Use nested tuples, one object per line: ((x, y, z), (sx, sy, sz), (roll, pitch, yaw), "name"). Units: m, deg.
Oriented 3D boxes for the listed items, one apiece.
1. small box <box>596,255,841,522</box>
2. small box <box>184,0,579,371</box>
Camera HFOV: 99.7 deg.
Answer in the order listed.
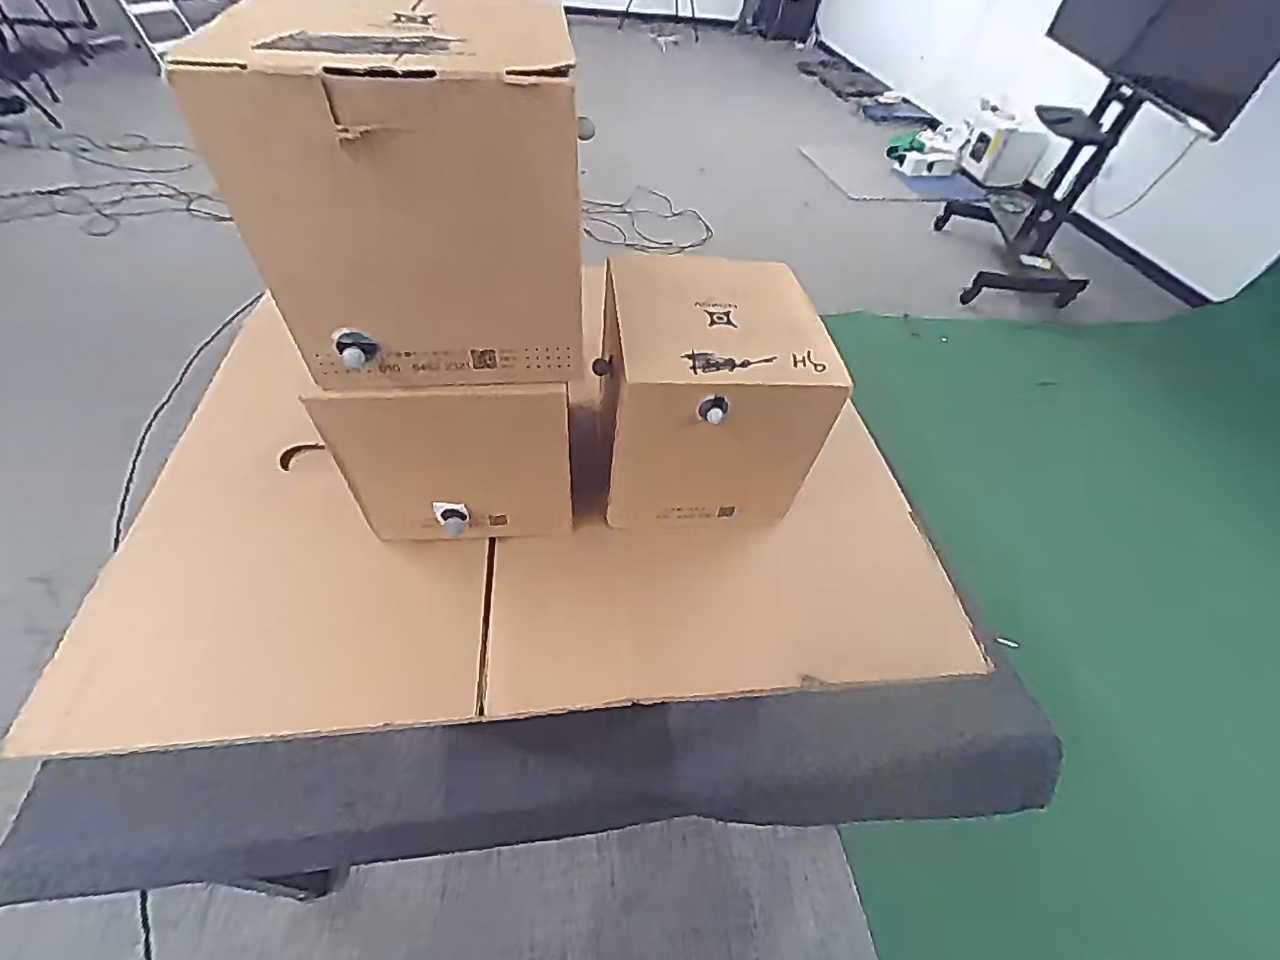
((0.049, -0.081, 0.496), (0.168, 0.176, 0.179), (0, 49, -9), "small box")
((-0.127, -0.184, 0.350), (0.168, 0.176, 0.179), (-3, 49, -8), "small box")
